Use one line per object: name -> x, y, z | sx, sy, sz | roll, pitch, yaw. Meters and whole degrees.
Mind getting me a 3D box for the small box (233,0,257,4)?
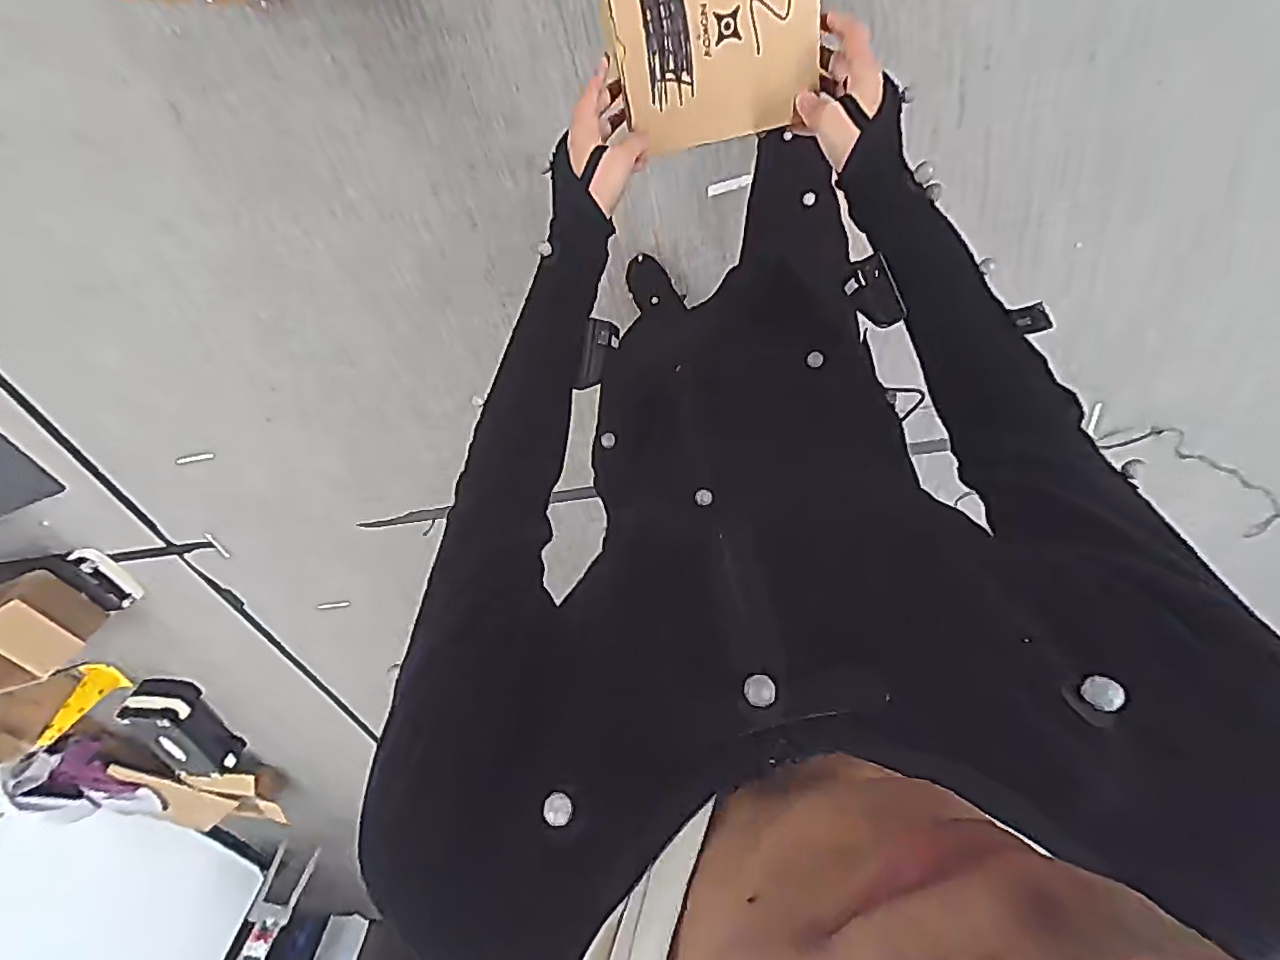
small box -> -0.779, -1.027, 1.007 | 0.168, 0.176, 0.179 | -6, 126, 10
